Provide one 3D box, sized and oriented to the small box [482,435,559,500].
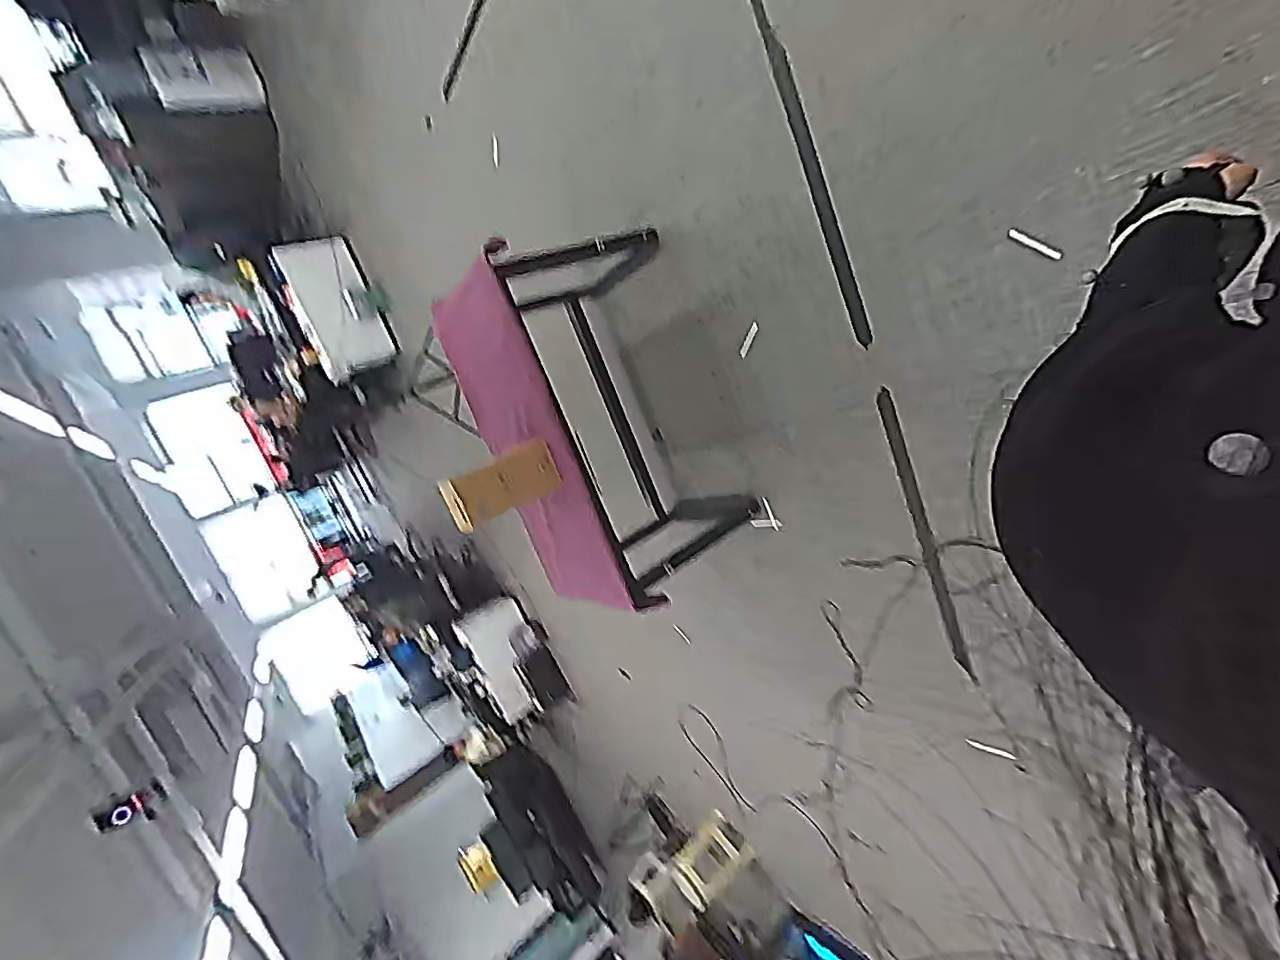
[{"bbox_3d":[-0.398,-0.043,1.811,0.179,0.176,0.168,-3,112,56],"label":"small box"}]
